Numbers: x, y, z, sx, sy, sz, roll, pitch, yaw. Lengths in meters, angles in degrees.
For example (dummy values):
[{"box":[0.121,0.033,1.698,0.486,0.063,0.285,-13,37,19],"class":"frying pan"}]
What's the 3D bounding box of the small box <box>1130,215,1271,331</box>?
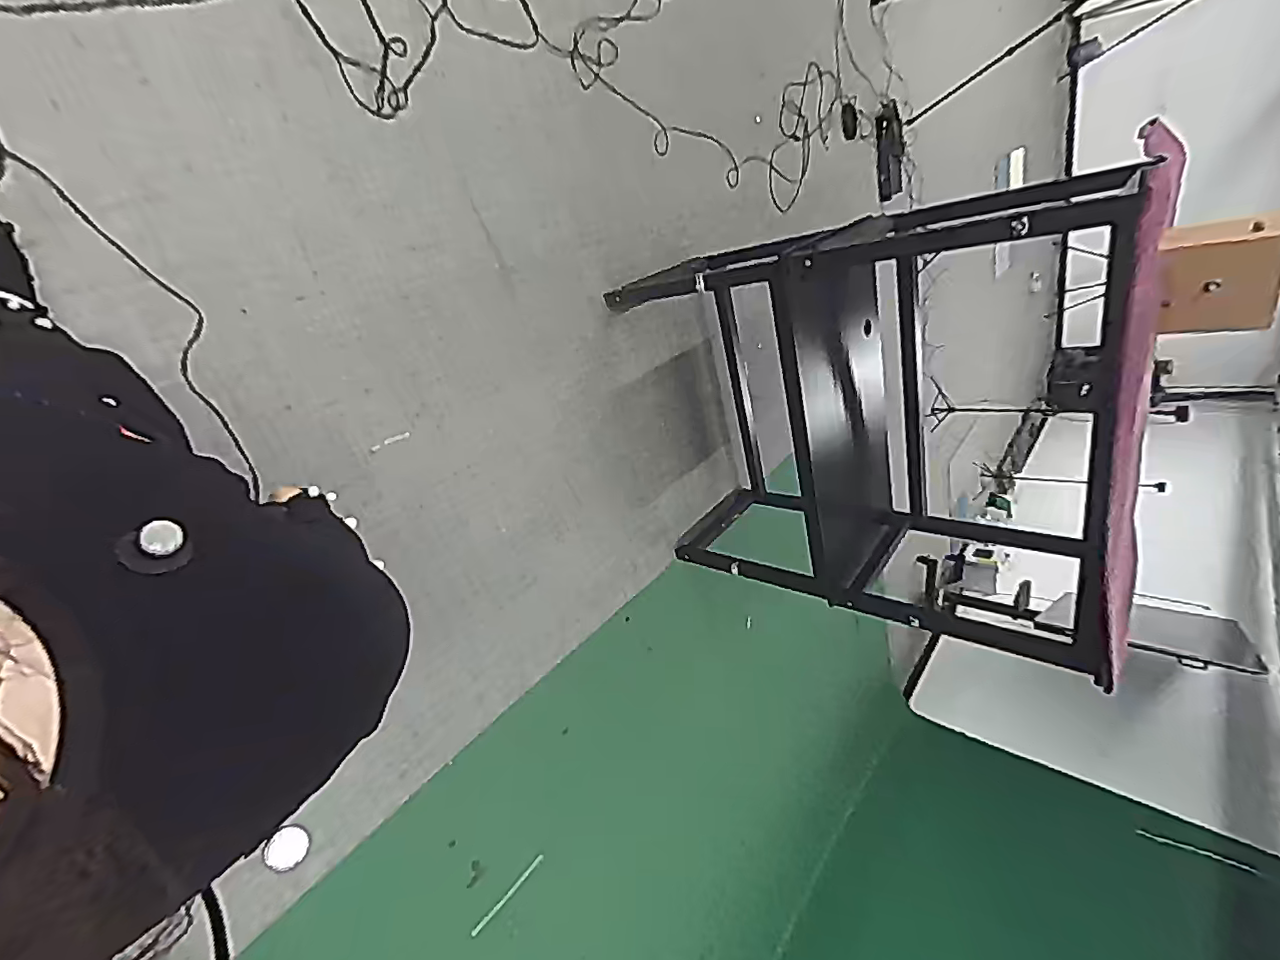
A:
[{"box":[1.074,-0.395,1.046,0.179,0.176,0.168,-37,123,-37],"class":"small box"}]
